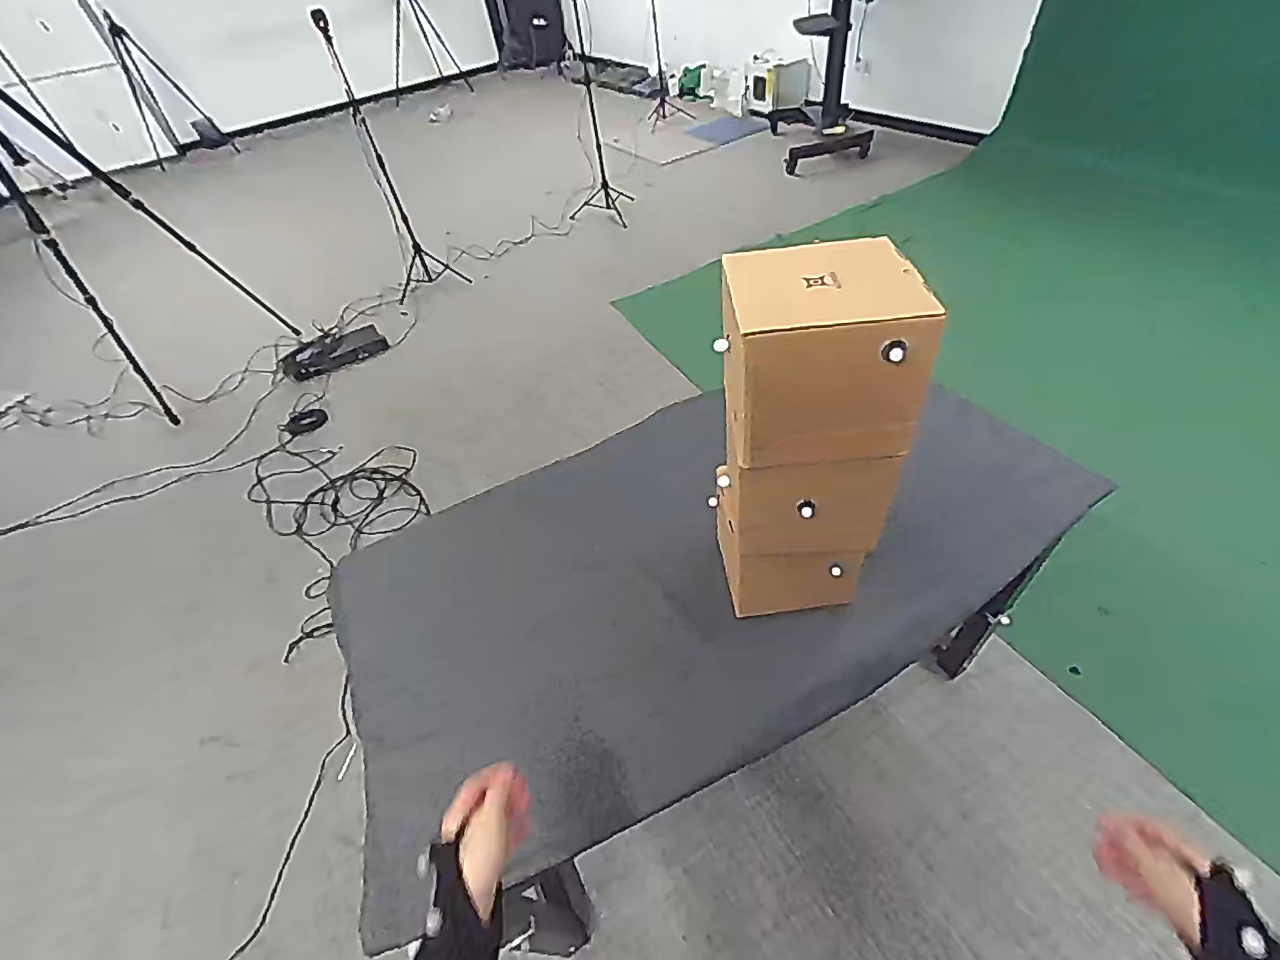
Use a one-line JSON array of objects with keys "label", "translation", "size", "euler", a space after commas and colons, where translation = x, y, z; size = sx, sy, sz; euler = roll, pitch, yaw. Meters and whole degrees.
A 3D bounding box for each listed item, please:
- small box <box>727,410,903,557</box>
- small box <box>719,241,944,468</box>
[{"label": "small box", "translation": [0.203, -0.016, 0.686], "size": [0.179, 0.176, 0.168], "euler": [-4, 46, 7]}, {"label": "small box", "translation": [0.180, -0.127, 0.569], "size": [0.179, 0.176, 0.168], "euler": [-4, 45, 5]}]
